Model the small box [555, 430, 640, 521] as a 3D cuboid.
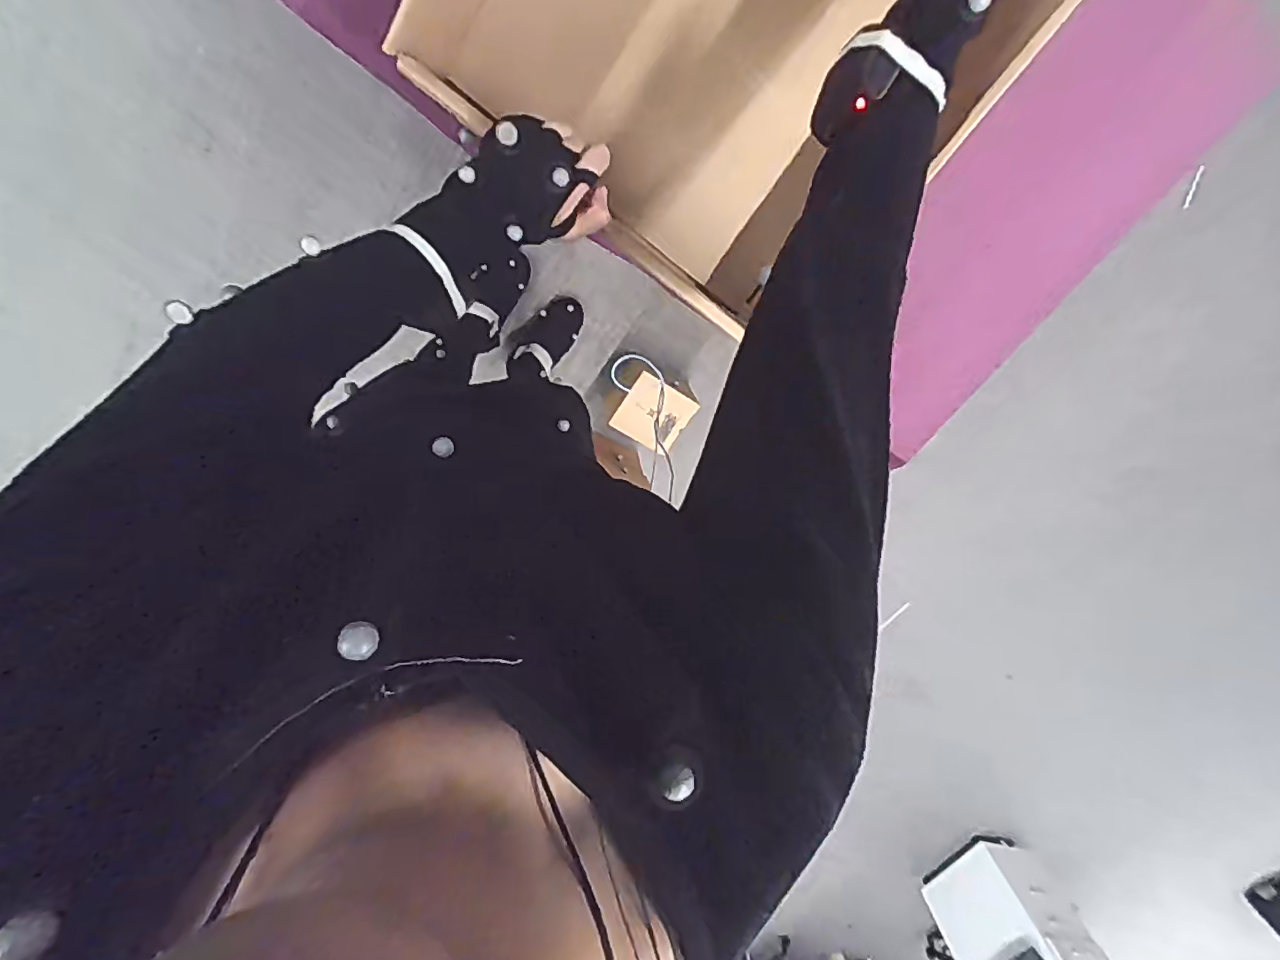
[{"bbox_3d":[-0.122,-0.019,1.505,0.179,0.176,0.168,25,112,-20],"label":"small box"}]
